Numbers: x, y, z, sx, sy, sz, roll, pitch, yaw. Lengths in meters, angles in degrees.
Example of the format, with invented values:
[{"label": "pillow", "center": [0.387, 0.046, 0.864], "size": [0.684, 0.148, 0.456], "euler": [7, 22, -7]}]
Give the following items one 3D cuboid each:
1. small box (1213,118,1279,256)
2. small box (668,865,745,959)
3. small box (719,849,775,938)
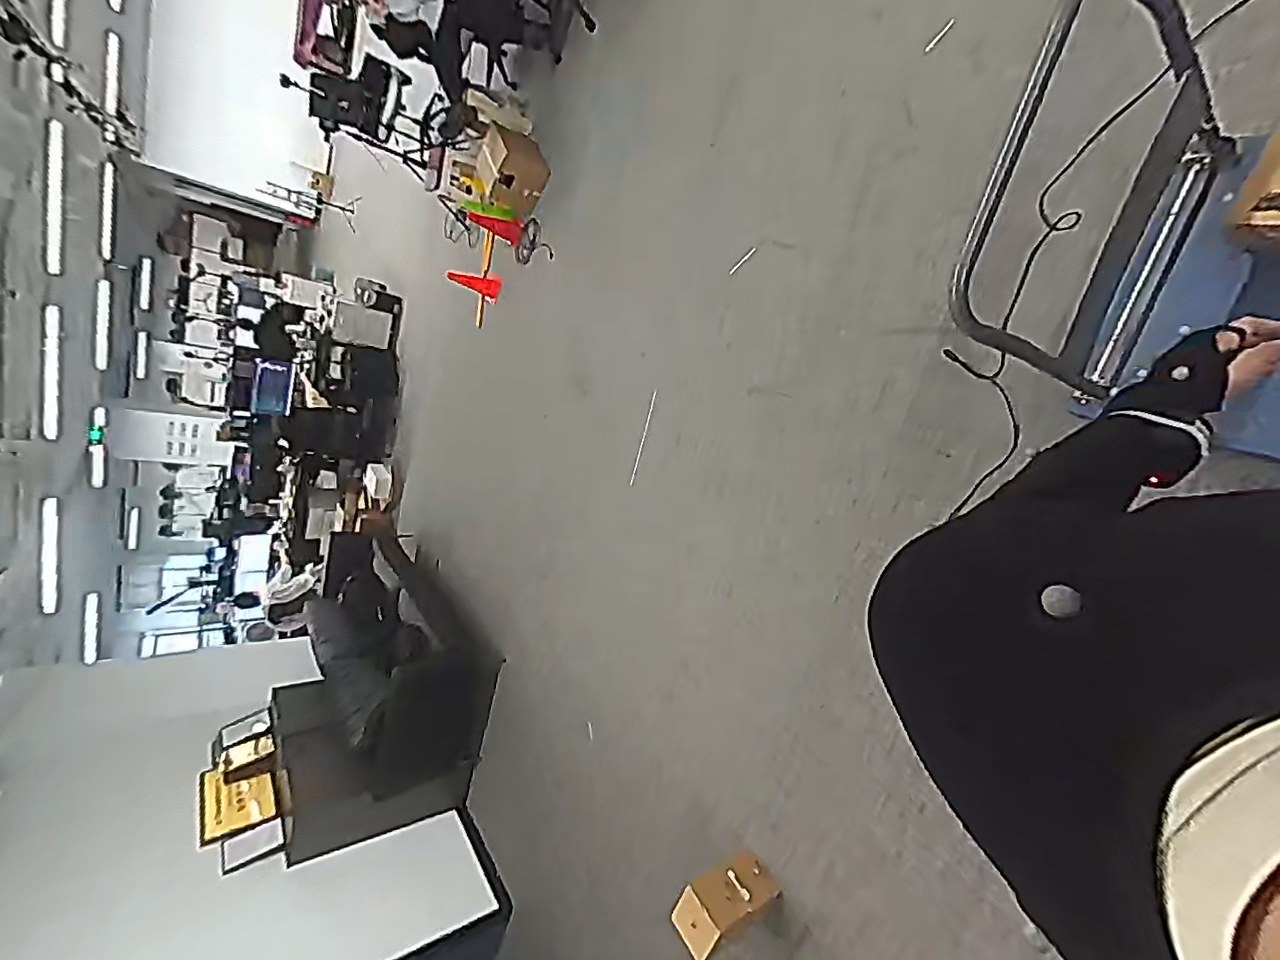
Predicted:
[{"label": "small box", "center": [1.145, -0.491, 0.925], "size": [0.168, 0.176, 0.179], "euler": [34, 111, 45]}, {"label": "small box", "center": [0.229, 1.473, 1.847], "size": [0.168, 0.176, 0.179], "euler": [38, 114, 45]}, {"label": "small box", "center": [0.356, 1.482, 1.945], "size": [0.168, 0.176, 0.179], "euler": [43, 117, 40]}]
